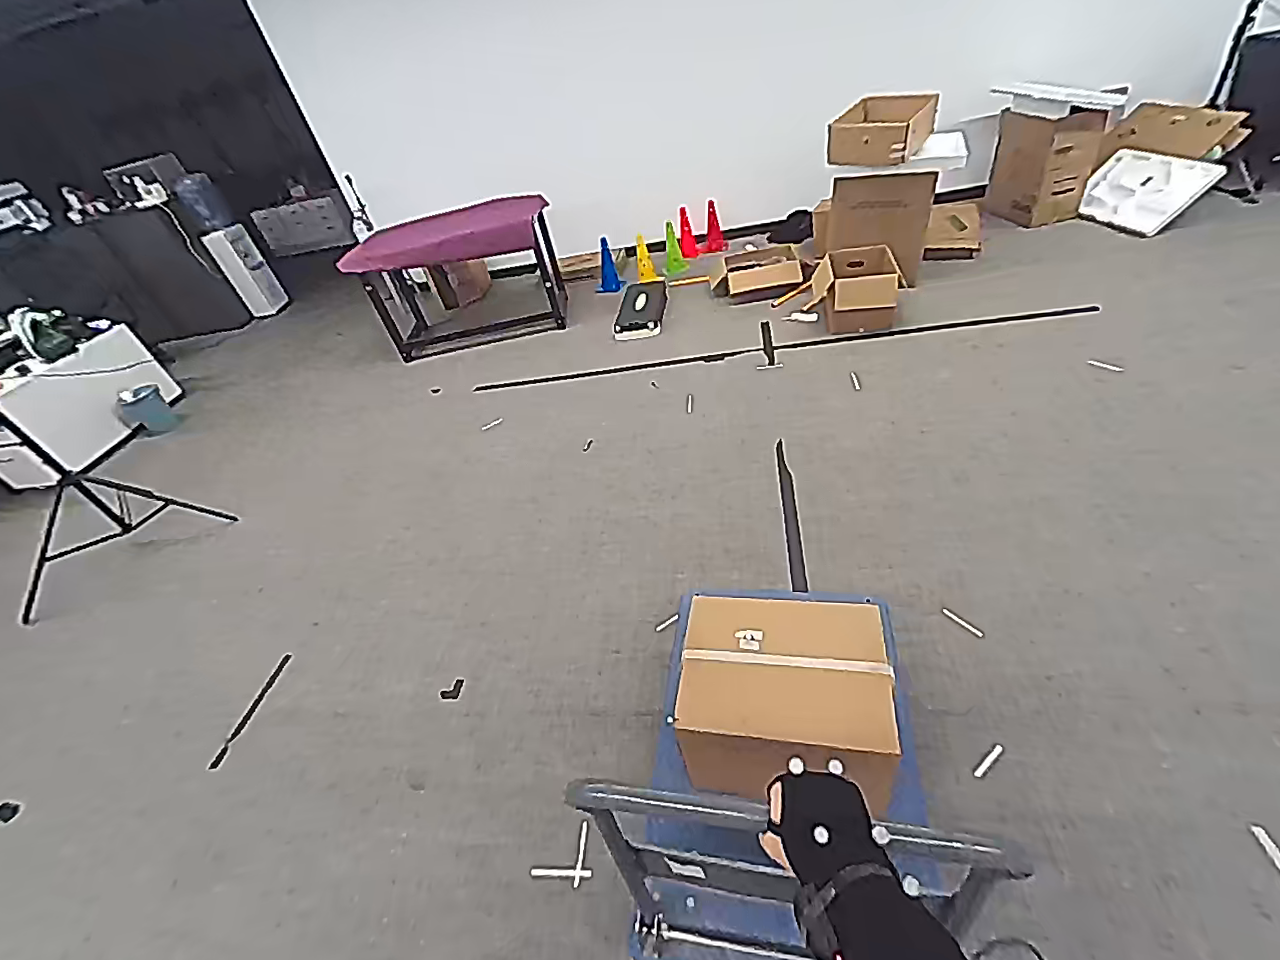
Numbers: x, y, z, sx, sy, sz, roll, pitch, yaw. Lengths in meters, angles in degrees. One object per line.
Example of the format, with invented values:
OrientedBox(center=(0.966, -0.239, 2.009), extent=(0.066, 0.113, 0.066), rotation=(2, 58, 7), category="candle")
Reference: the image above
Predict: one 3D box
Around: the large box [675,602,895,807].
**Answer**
OrientedBox(center=(0.317, 0.491, 1.204), extent=(0.408, 0.320, 0.320), rotation=(-2, 40, 16), category="large box")
